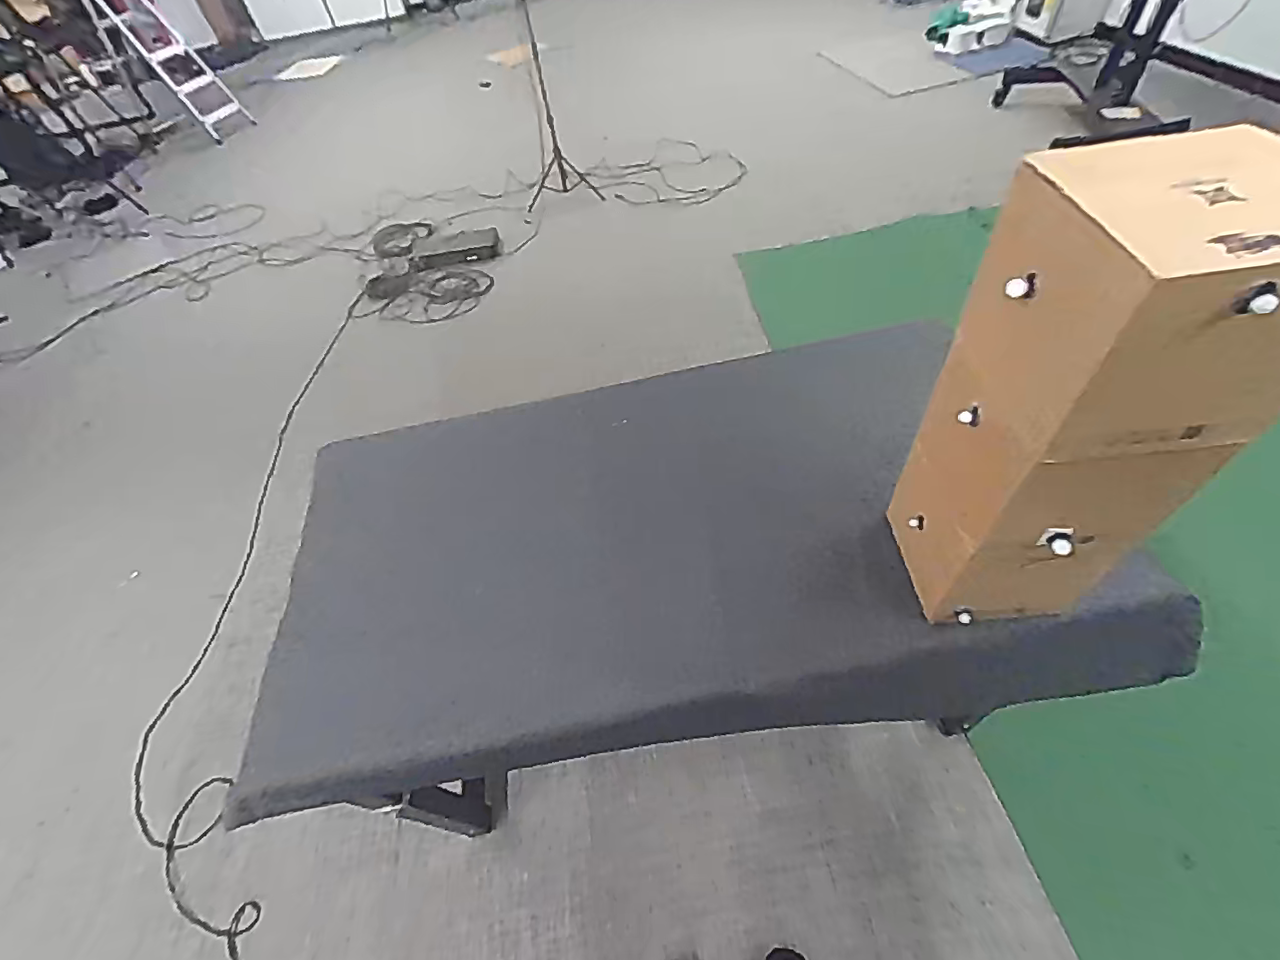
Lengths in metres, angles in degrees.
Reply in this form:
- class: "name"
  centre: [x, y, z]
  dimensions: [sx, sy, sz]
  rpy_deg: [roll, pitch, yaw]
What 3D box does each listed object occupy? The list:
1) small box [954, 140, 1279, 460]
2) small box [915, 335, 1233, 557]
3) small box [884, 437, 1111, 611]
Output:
- class: "small box"
  centre: [0.384, -0.138, 0.431]
  dimensions: [0.168, 0.176, 0.179]
  rpy_deg: [-6, 50, 6]
- class: "small box"
  centre: [0.411, -0.040, 0.560]
  dimensions: [0.168, 0.176, 0.179]
  rpy_deg: [-6, 52, 6]
- class: "small box"
  centre: [0.433, 0.056, 0.688]
  dimensions: [0.168, 0.176, 0.179]
  rpy_deg: [-5, 50, 5]
